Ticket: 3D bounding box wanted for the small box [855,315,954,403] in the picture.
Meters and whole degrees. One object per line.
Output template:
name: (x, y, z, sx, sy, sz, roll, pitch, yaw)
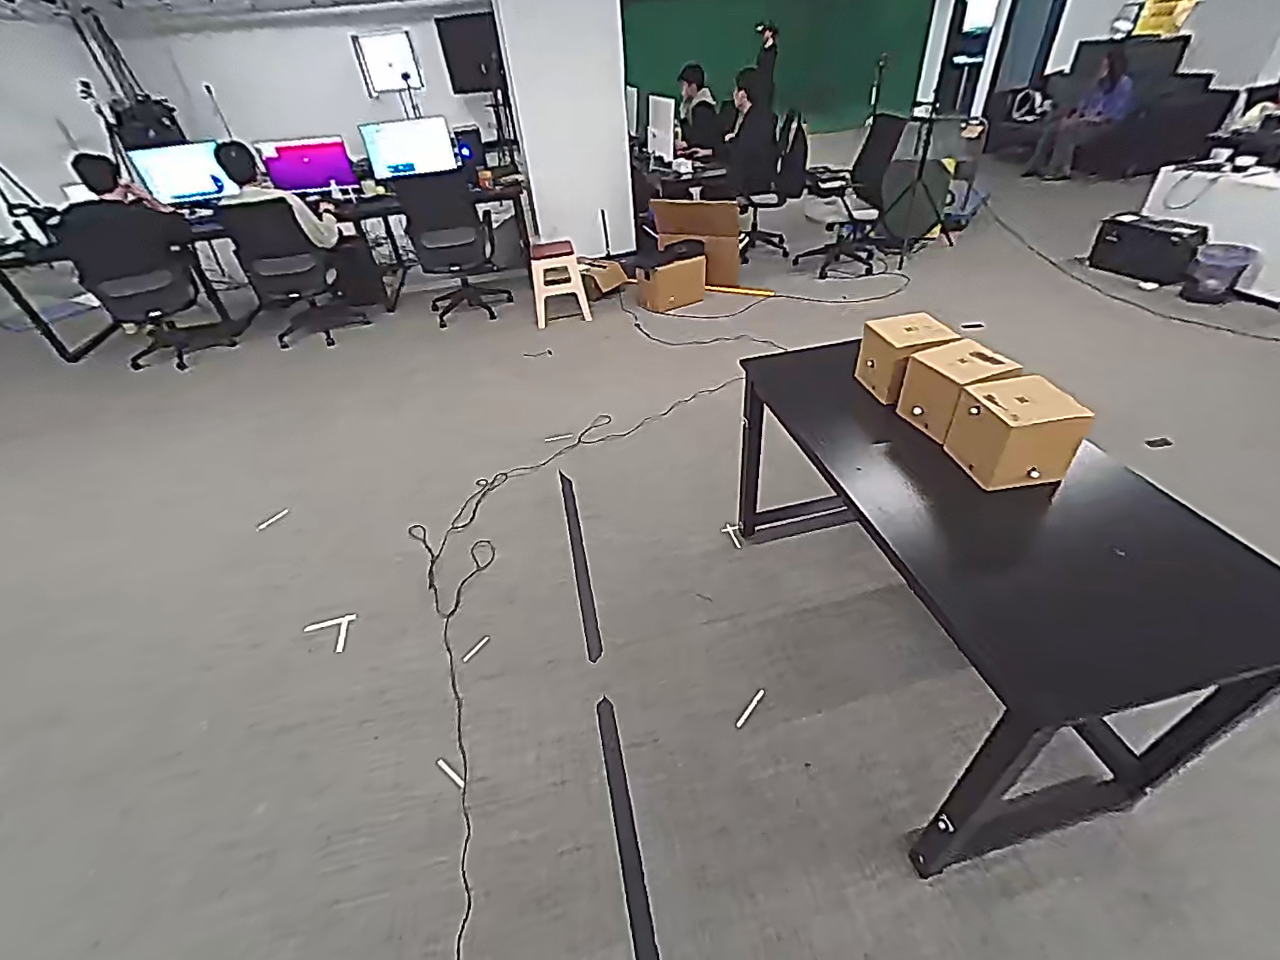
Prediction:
small box: (0.697, -0.323, 1.456, 0.179, 0.176, 0.168, -10, 39, -5)
